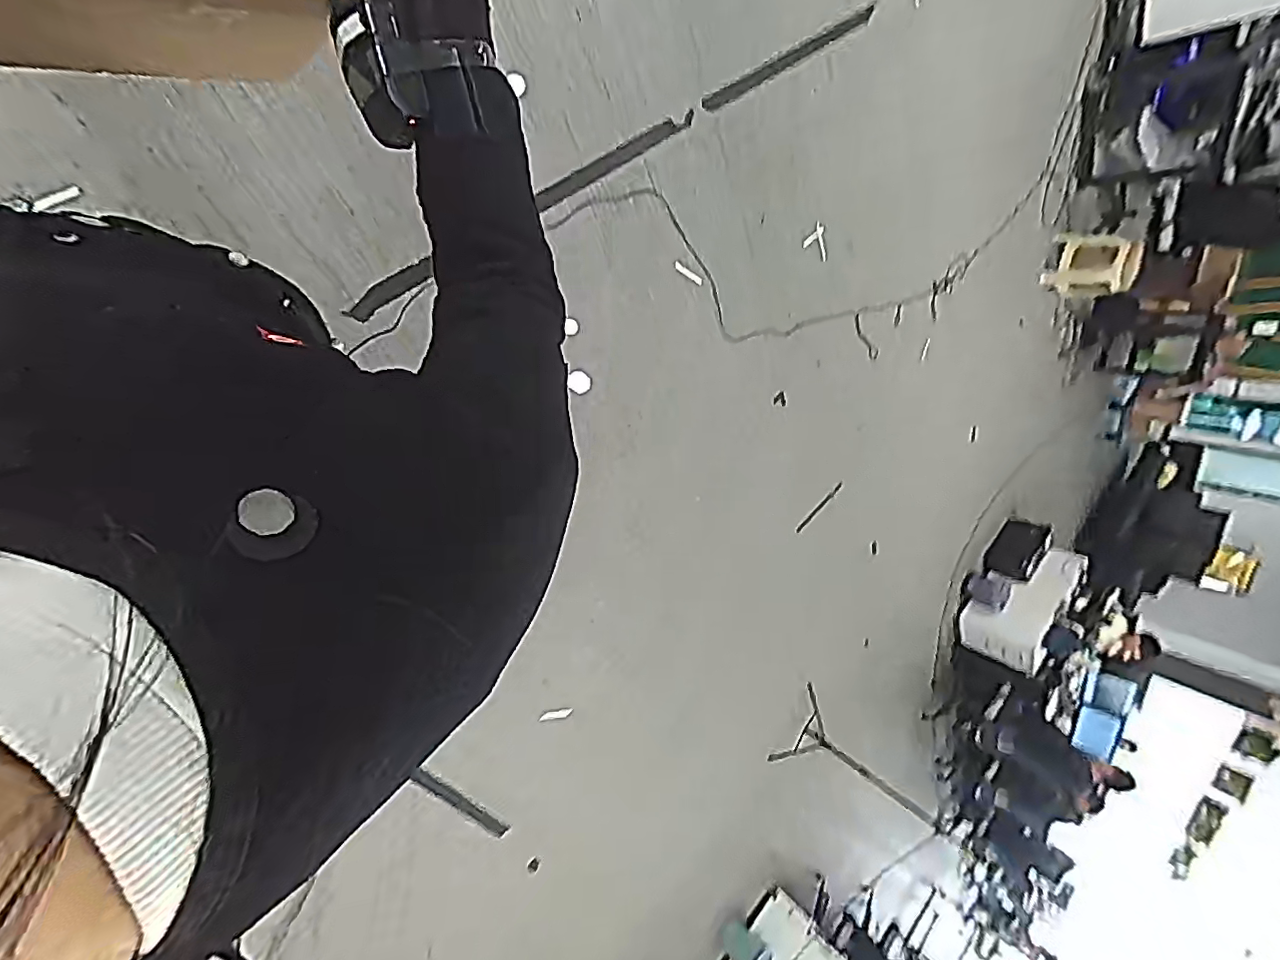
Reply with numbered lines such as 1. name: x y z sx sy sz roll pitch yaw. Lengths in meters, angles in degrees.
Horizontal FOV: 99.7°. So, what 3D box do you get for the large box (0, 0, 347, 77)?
1. large box: -0.416 -0.401 0.240 0.408 0.320 0.320 -23 126 -33
